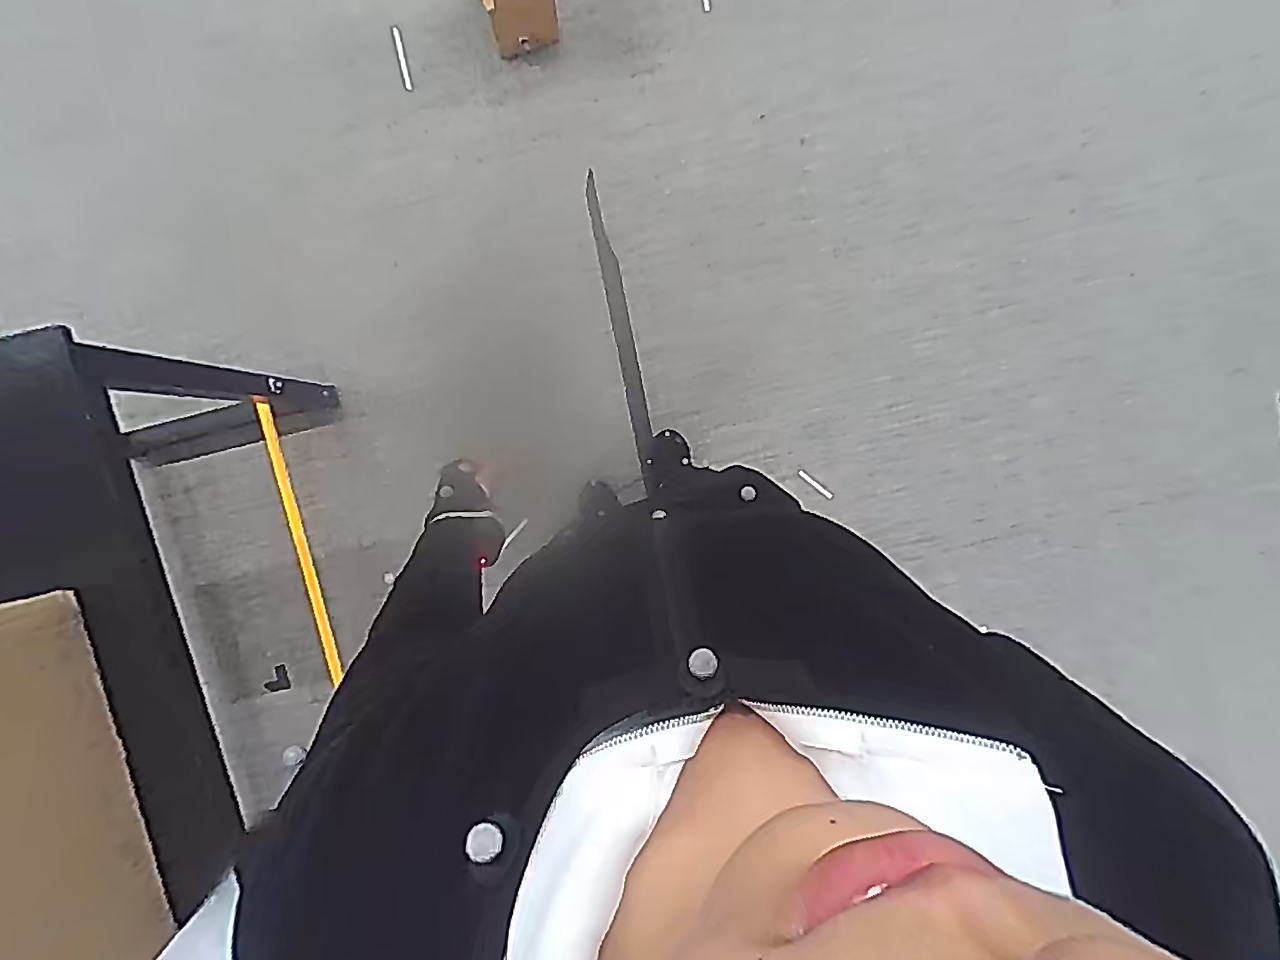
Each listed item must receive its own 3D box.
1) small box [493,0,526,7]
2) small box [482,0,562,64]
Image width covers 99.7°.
[{"bbox_3d":[-0.276,-1.167,1.152,0.168,0.176,0.179,-20,95,0],"label":"small box"},{"bbox_3d":[-0.300,-1.175,1.315,0.168,0.176,0.179,-19,96,0],"label":"small box"}]
